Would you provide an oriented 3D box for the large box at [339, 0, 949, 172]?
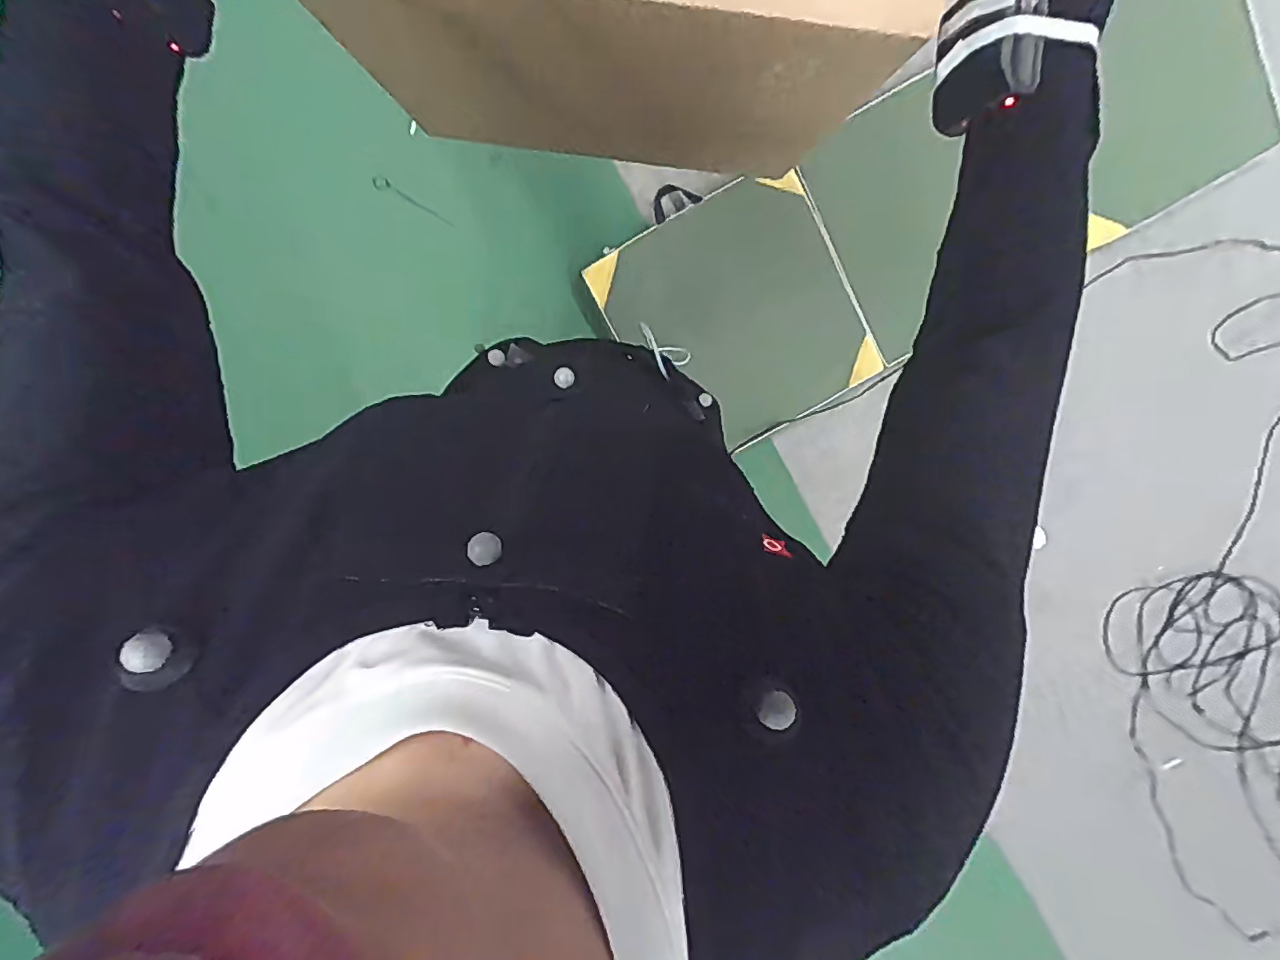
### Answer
[{"bbox_3d":[-0.004,-0.476,0.429,0.408,0.320,0.320,5,105,-5],"label":"large box"}]
